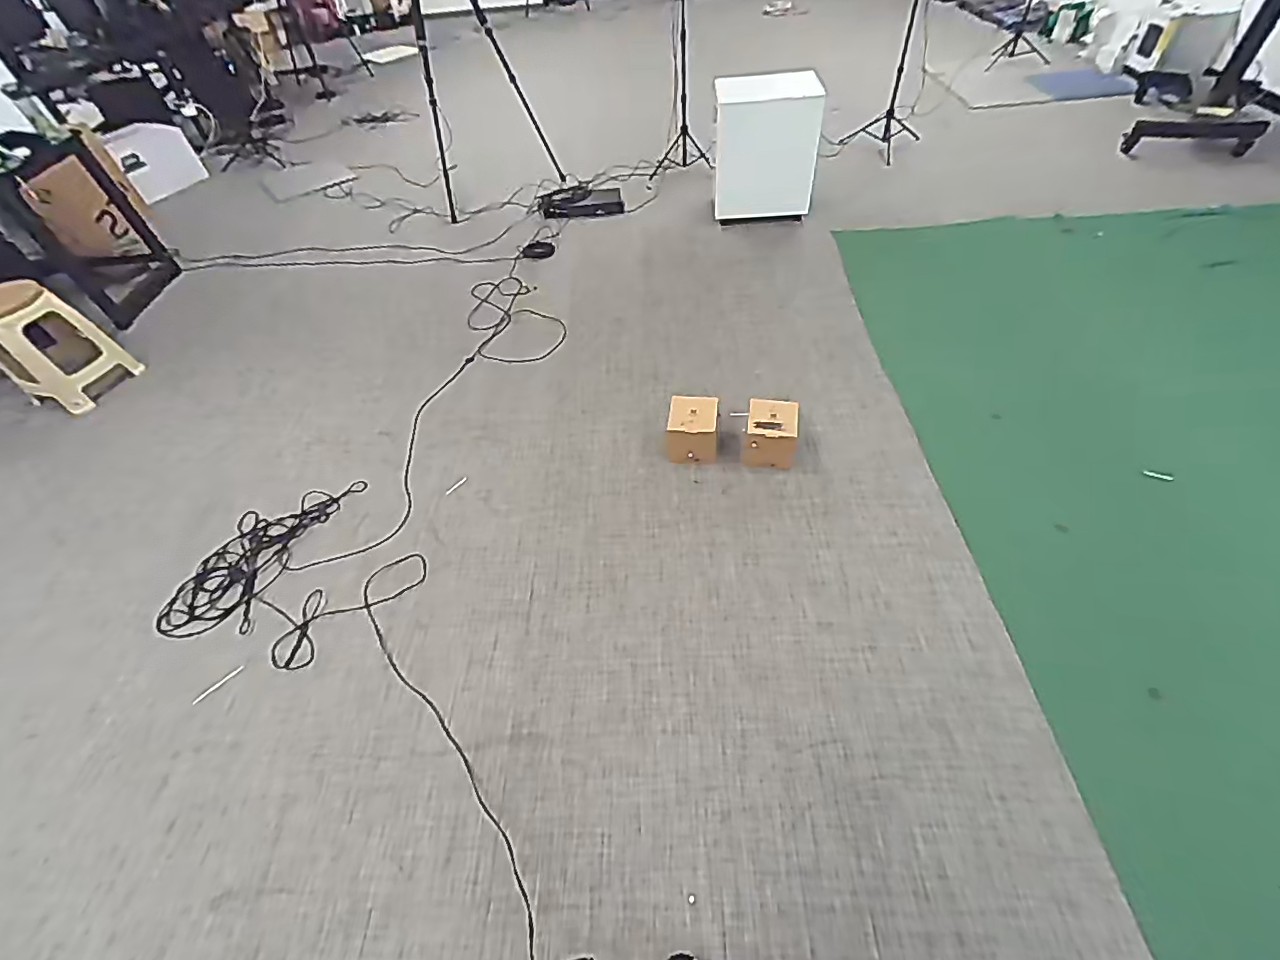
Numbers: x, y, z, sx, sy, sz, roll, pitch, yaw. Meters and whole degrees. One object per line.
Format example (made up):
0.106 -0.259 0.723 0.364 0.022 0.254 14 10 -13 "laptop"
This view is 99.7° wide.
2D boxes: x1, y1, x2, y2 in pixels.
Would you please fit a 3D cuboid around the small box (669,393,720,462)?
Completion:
0.196 -0.189 1.940 0.168 0.176 0.179 4 52 10 "small box"
